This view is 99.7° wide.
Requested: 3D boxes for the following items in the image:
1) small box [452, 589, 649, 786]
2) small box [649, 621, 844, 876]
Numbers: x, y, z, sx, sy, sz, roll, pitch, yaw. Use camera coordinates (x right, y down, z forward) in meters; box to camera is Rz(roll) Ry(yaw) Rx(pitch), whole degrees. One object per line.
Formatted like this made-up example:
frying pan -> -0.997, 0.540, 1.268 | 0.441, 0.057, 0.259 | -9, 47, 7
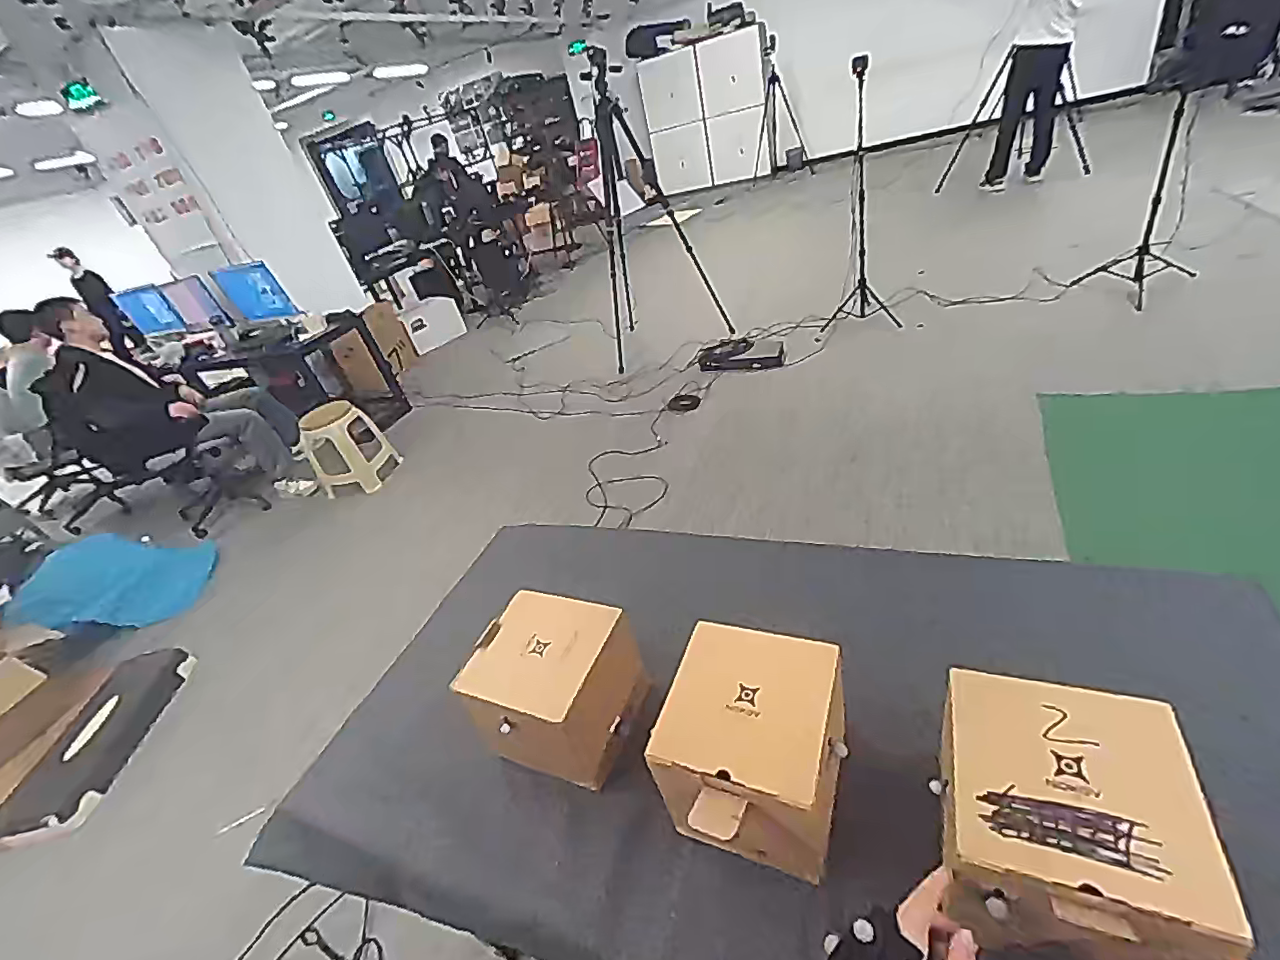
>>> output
small box -> -0.109, 0.276, 0.729 | 0.179, 0.176, 0.168 | 5, 40, 28
small box -> 0.130, 0.291, 0.606 | 0.168, 0.176, 0.179 | 4, 39, 27
